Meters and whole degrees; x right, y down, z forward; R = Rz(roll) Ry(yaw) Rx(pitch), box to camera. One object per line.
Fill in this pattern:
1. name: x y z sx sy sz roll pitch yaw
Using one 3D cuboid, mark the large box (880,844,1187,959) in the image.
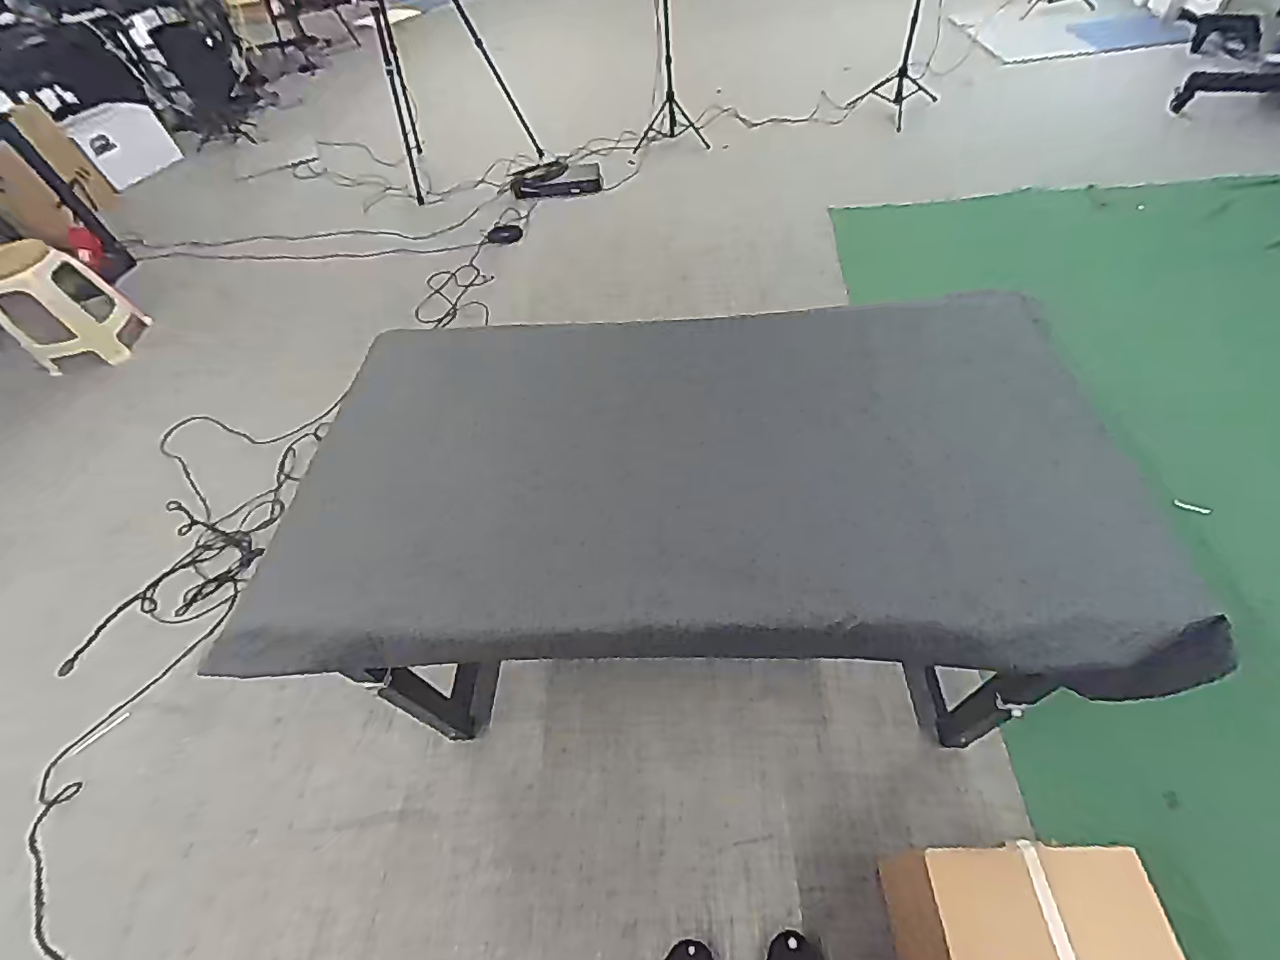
1. large box: 0.613 0.811 0.826 0.320 0.320 0.408 -4 52 5
